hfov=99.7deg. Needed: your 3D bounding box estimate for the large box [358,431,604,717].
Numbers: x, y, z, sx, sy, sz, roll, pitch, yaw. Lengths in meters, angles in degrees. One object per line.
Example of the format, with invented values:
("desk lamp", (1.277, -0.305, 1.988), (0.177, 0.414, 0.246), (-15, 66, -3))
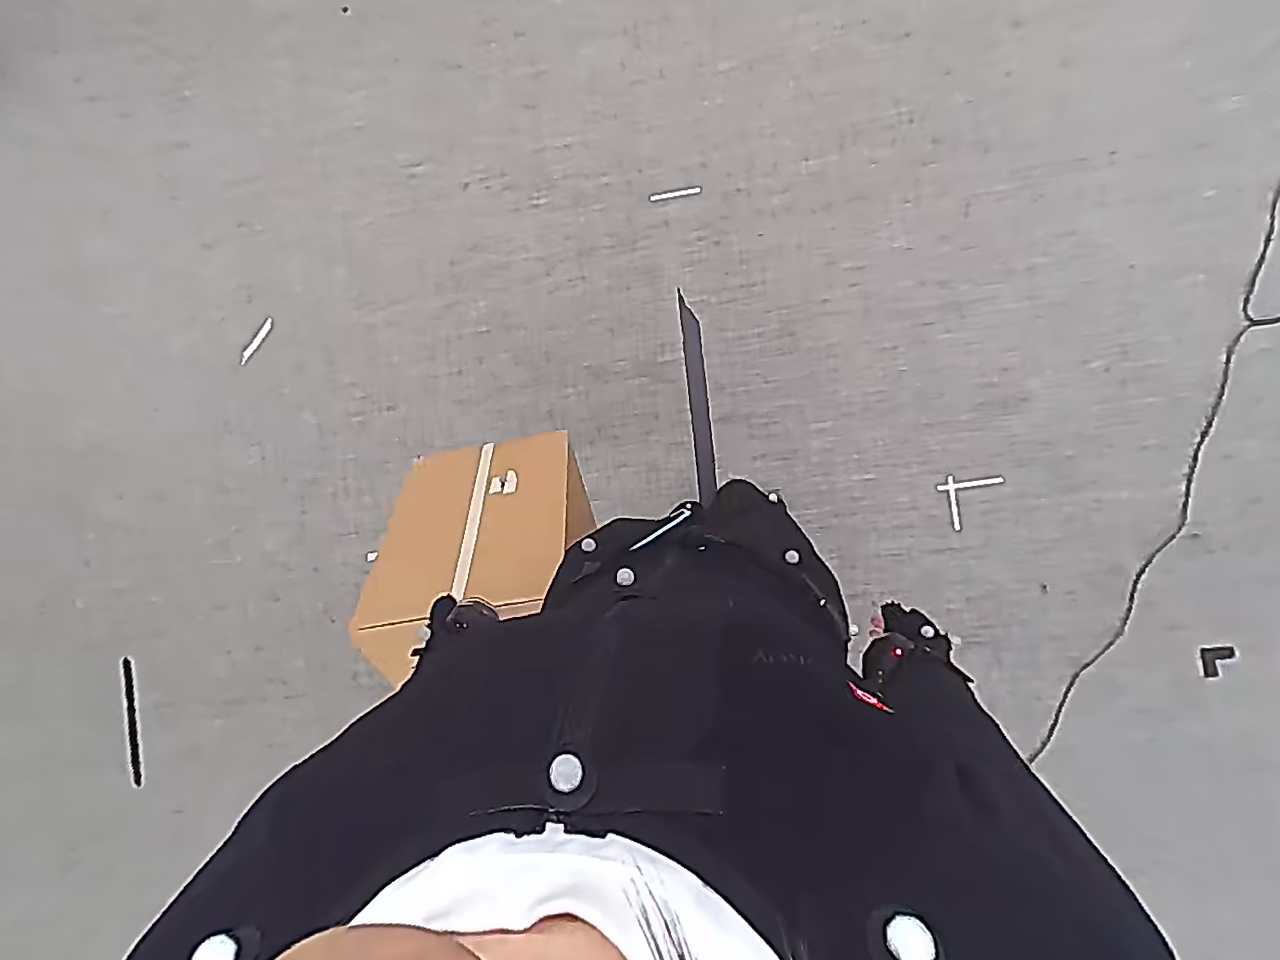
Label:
("large box", (-0.254, 0.166, 1.019), (0.320, 0.408, 0.320), (-9, 130, 2))
